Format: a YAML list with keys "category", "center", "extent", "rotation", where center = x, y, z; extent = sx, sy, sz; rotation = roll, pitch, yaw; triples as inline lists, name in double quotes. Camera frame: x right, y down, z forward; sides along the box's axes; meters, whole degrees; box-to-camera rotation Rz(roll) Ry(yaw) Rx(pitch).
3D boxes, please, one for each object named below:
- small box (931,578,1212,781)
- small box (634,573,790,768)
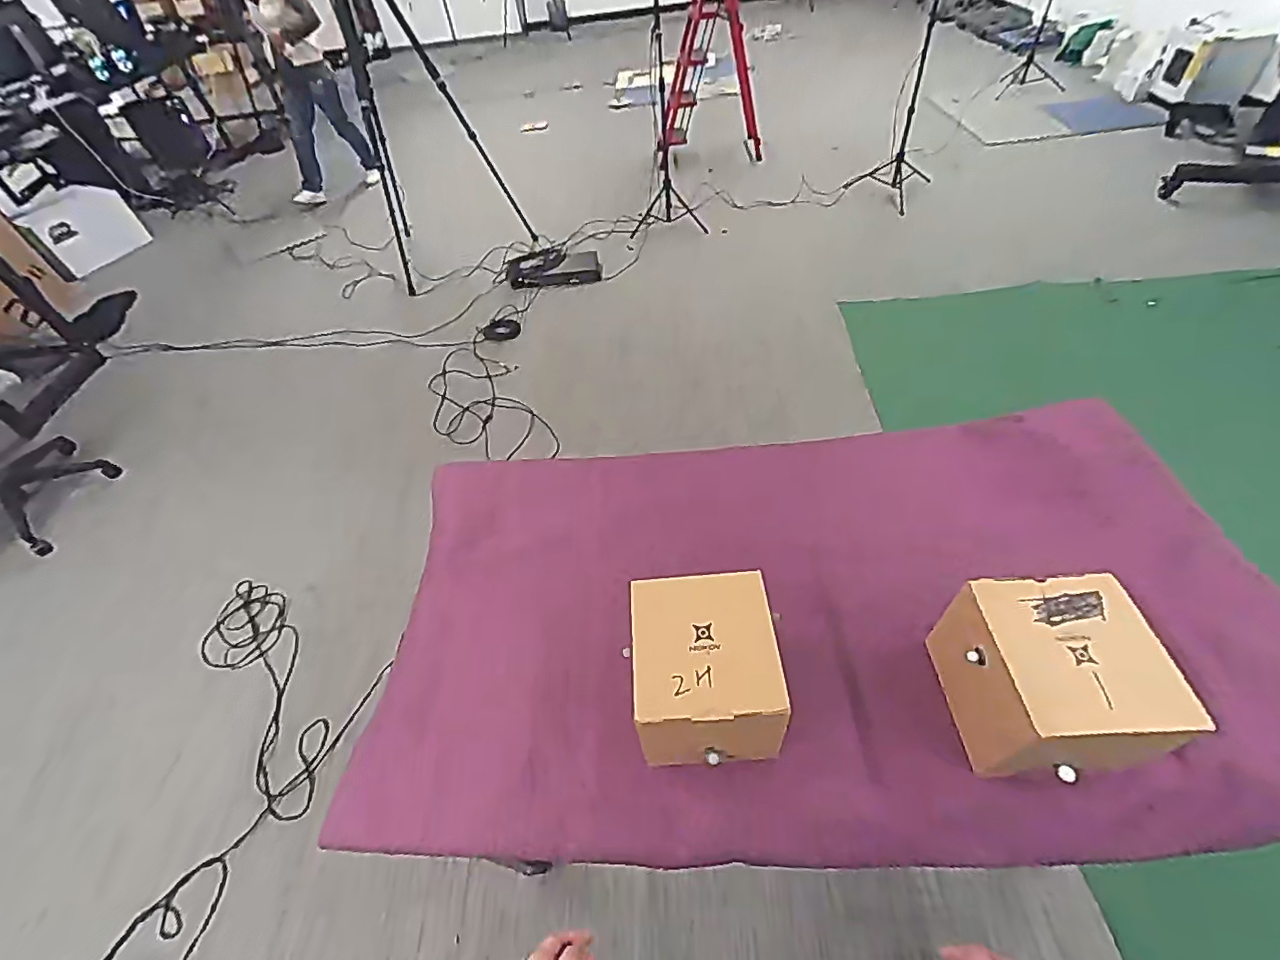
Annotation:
- category: "small box"
  center: [0.474, 0.236, 0.637]
  extent: [0.168, 0.176, 0.179]
  rotation: [-4, 49, 4]
- category: "small box"
  center: [0.080, 0.240, 0.679]
  extent: [0.168, 0.176, 0.179]
  rotation: [-5, 48, 3]
